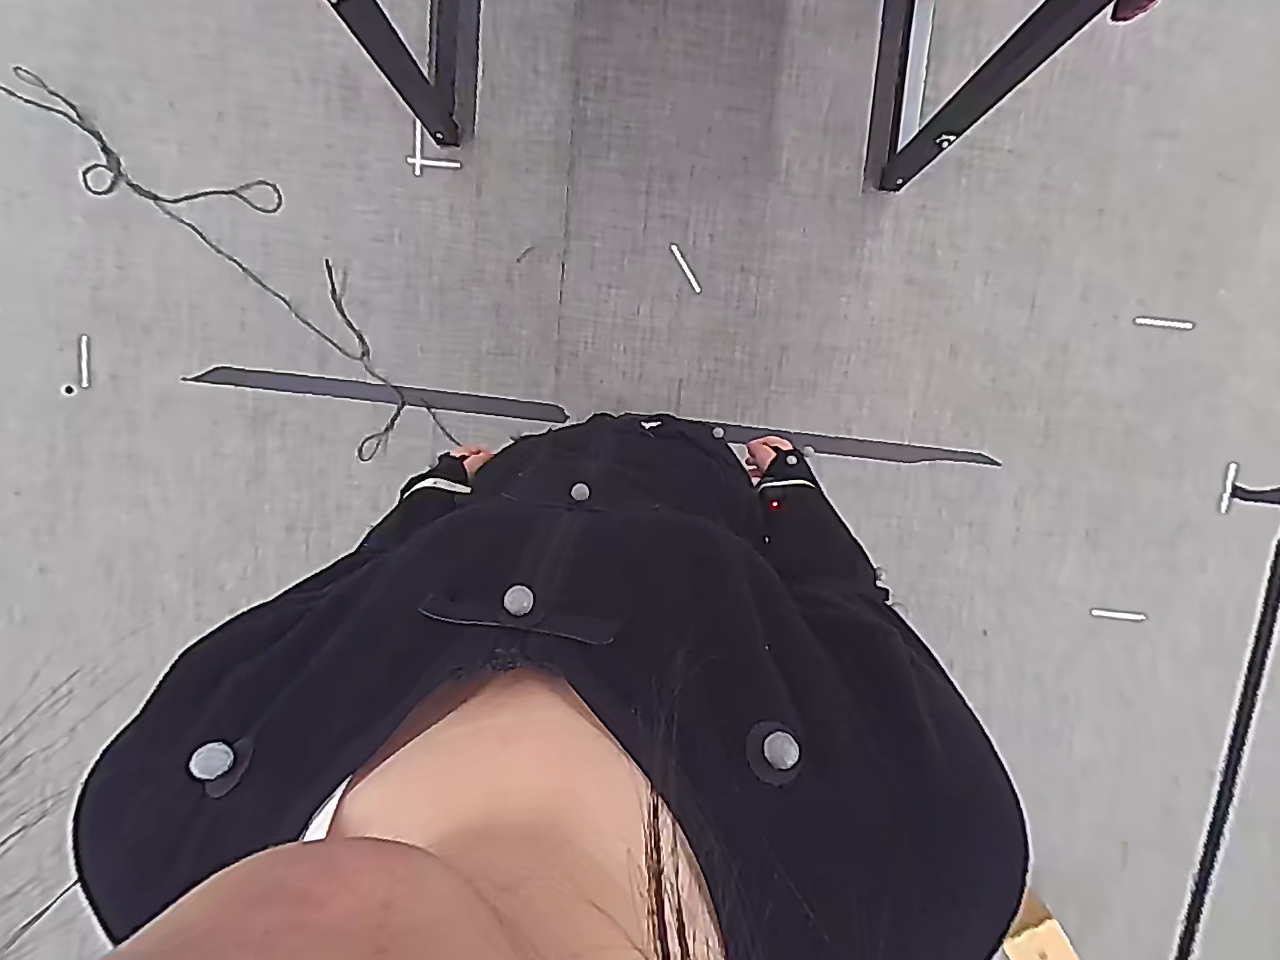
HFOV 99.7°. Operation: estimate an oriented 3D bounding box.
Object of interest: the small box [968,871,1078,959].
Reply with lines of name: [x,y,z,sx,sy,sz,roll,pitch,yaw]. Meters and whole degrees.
small box: [1.099,1.285,1.567,0.168,0.176,0.179,-32,97,5]
